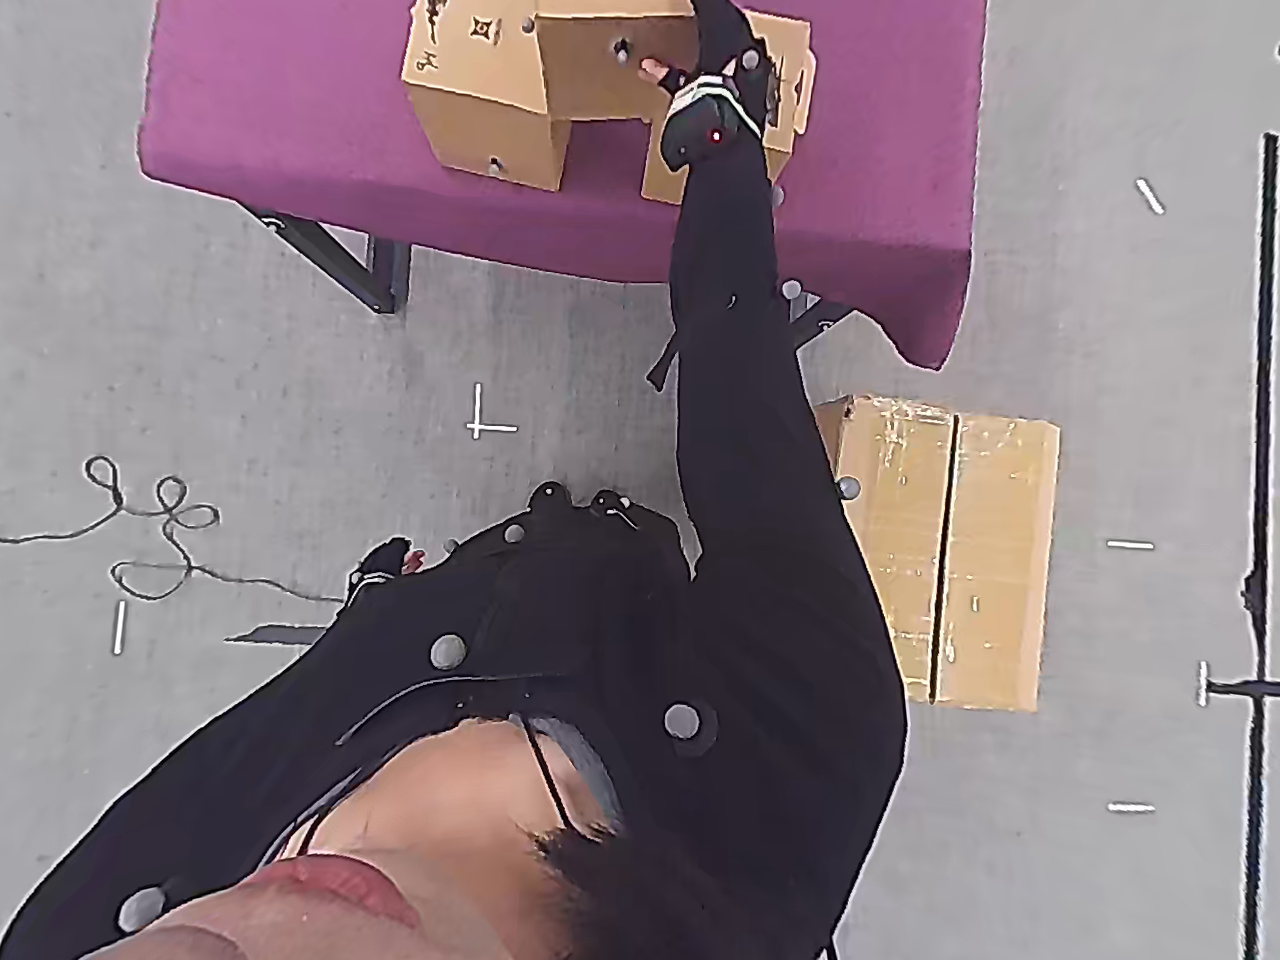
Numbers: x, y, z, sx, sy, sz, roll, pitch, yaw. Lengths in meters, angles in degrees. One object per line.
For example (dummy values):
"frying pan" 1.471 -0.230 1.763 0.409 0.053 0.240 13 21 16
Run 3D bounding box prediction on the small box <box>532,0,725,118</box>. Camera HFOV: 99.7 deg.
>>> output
"small box" -0.021 -0.506 0.561 0.179 0.176 0.168 -5 96 -5

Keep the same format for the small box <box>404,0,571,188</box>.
"small box" -0.183 -0.521 0.716 0.179 0.176 0.168 11 87 -5

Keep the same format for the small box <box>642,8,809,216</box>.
"small box" 0.106 -0.490 0.741 0.179 0.176 0.168 9 87 -4
